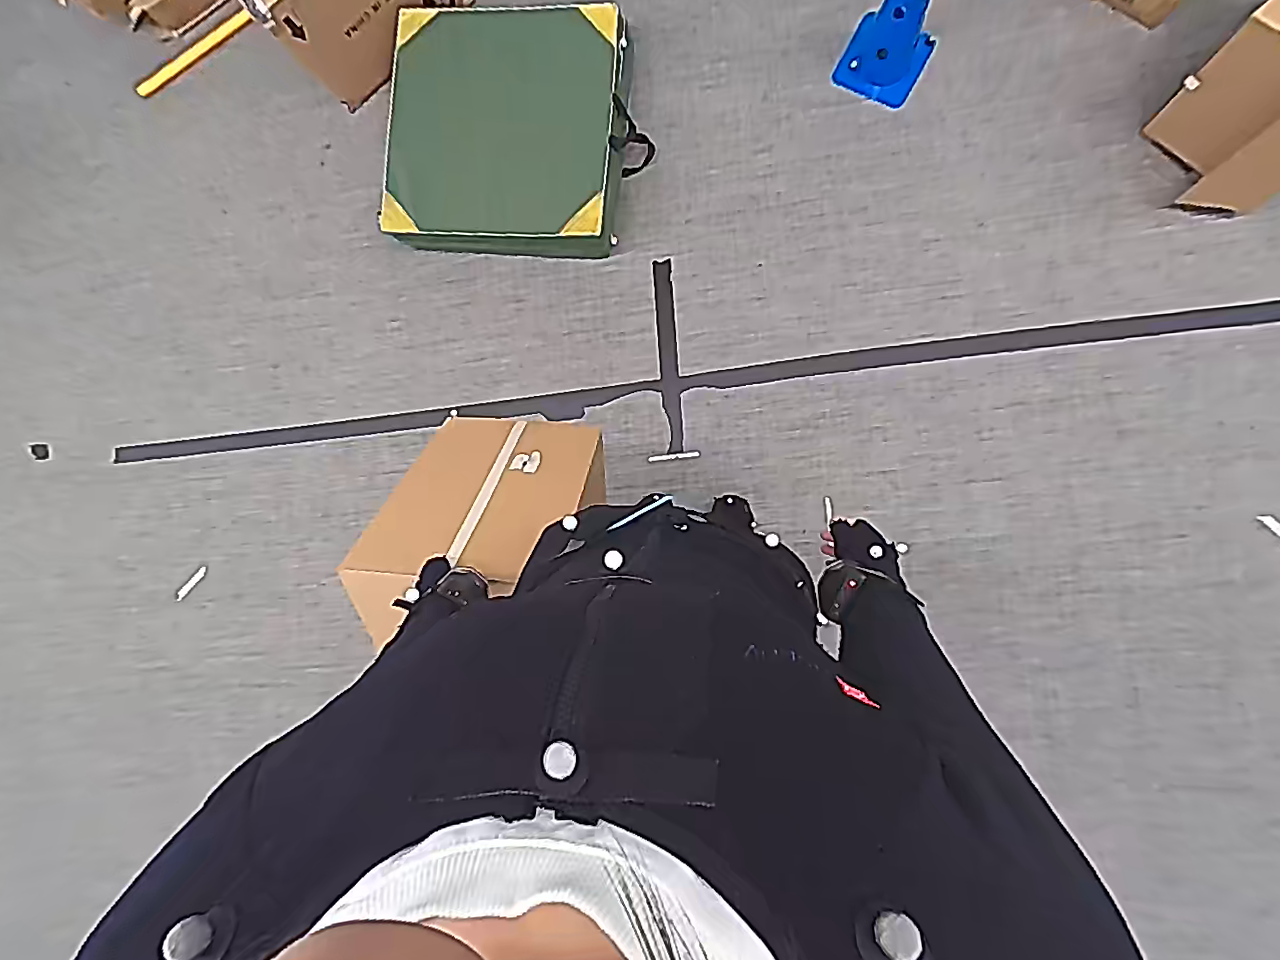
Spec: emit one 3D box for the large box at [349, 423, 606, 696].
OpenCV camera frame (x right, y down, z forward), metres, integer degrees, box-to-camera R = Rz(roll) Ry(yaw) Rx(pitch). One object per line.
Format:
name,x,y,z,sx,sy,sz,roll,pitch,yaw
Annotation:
large box,-0.251,0.134,1.011,0.320,0.408,0.320,5,128,6
